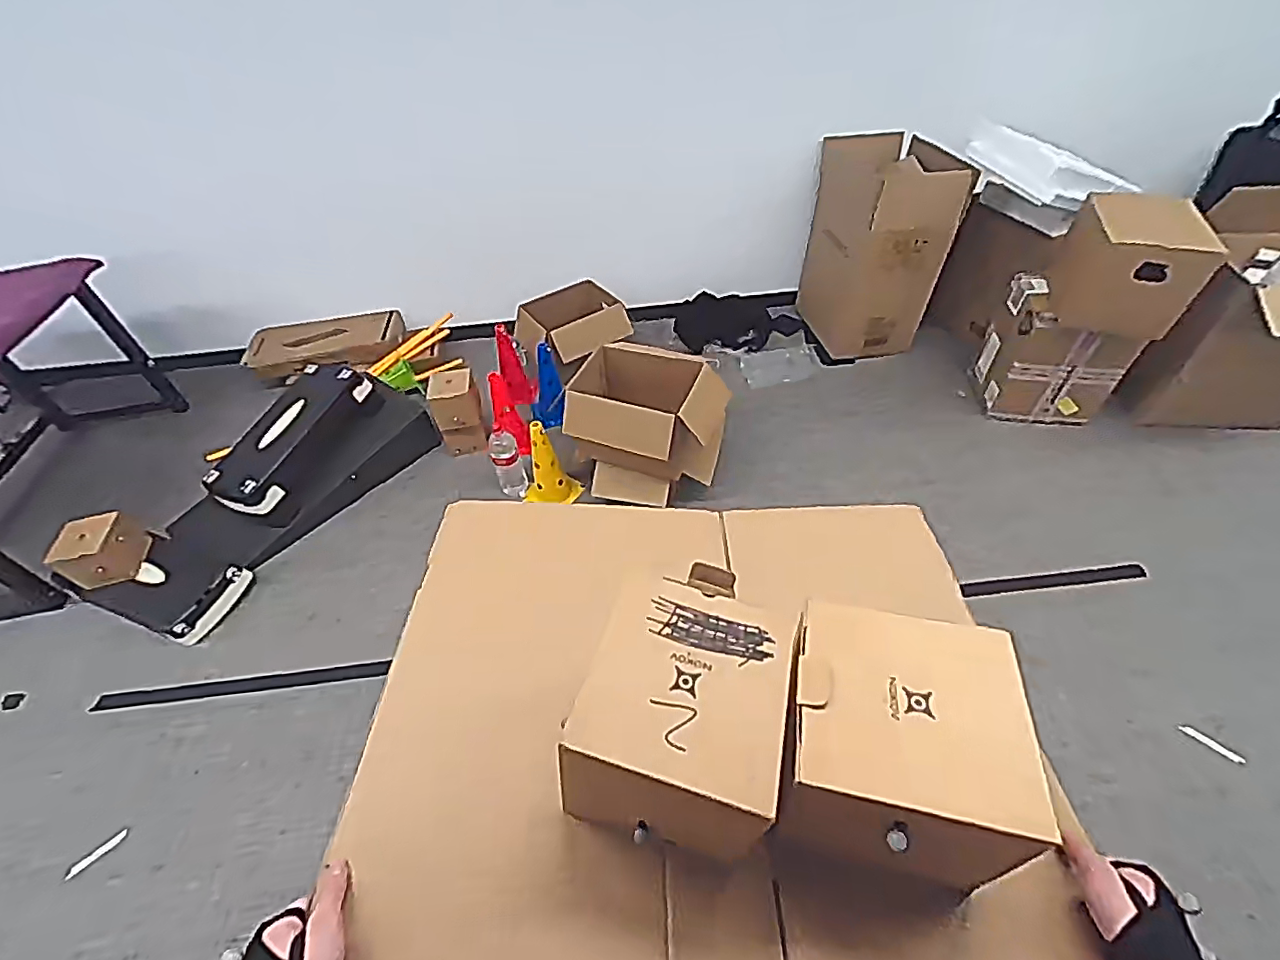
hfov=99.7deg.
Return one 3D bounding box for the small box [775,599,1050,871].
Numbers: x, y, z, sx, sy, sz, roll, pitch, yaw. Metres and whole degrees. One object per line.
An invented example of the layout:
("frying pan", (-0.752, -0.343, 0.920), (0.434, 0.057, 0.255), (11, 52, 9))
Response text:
("small box", (0.229, 0.239, 0.506), (0.179, 0.176, 0.168), (7, 45, 13))
